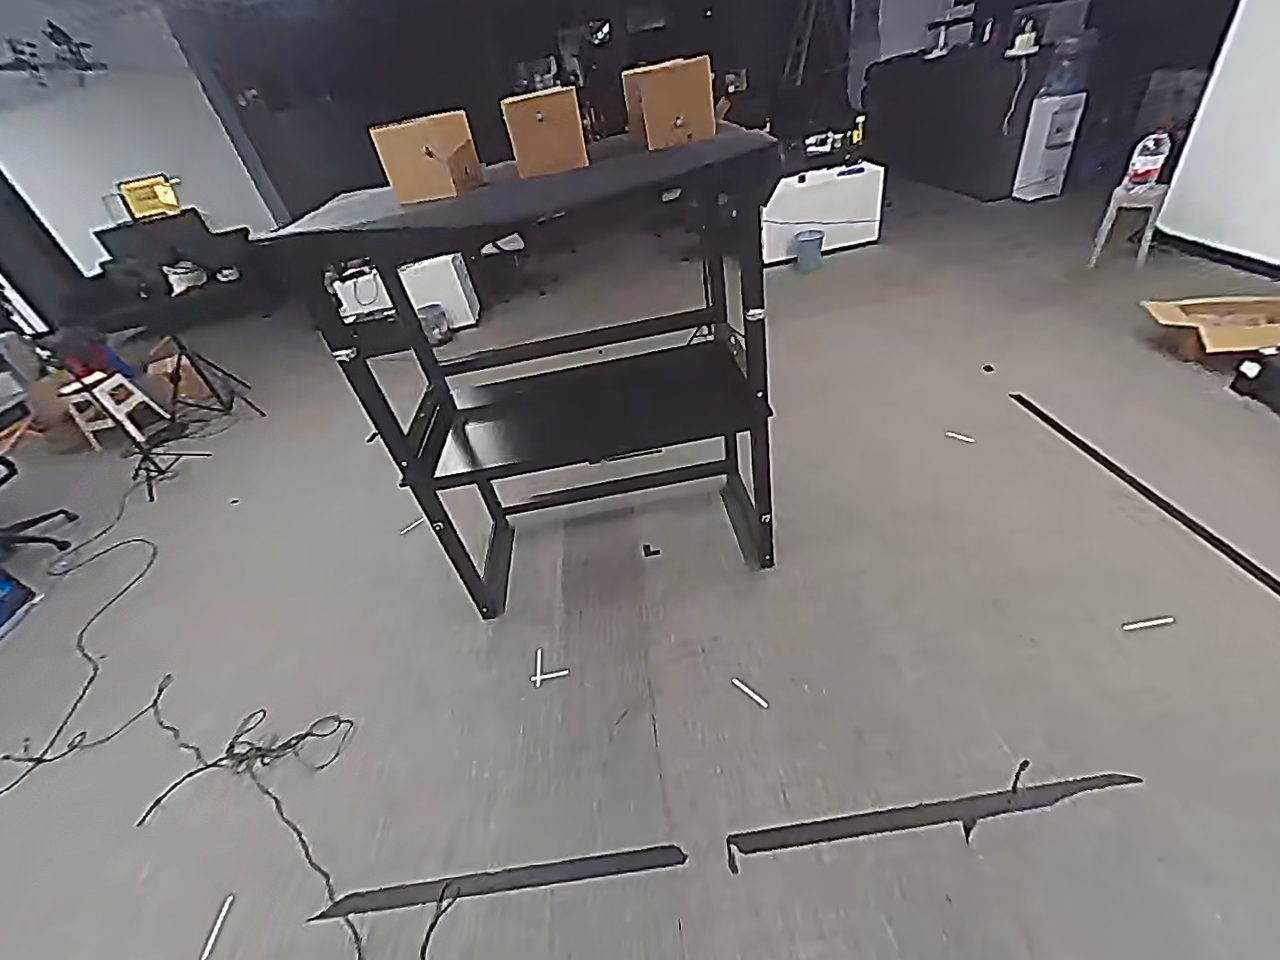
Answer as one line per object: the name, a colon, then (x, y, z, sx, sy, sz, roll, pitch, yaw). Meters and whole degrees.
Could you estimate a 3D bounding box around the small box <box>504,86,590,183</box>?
small box: (-0.225, -0.870, 1.362, 0.179, 0.176, 0.168, -11, 38, 2)

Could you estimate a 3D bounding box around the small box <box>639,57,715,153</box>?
small box: (0.094, -0.927, 1.340, 0.168, 0.176, 0.179, -7, 38, 8)
